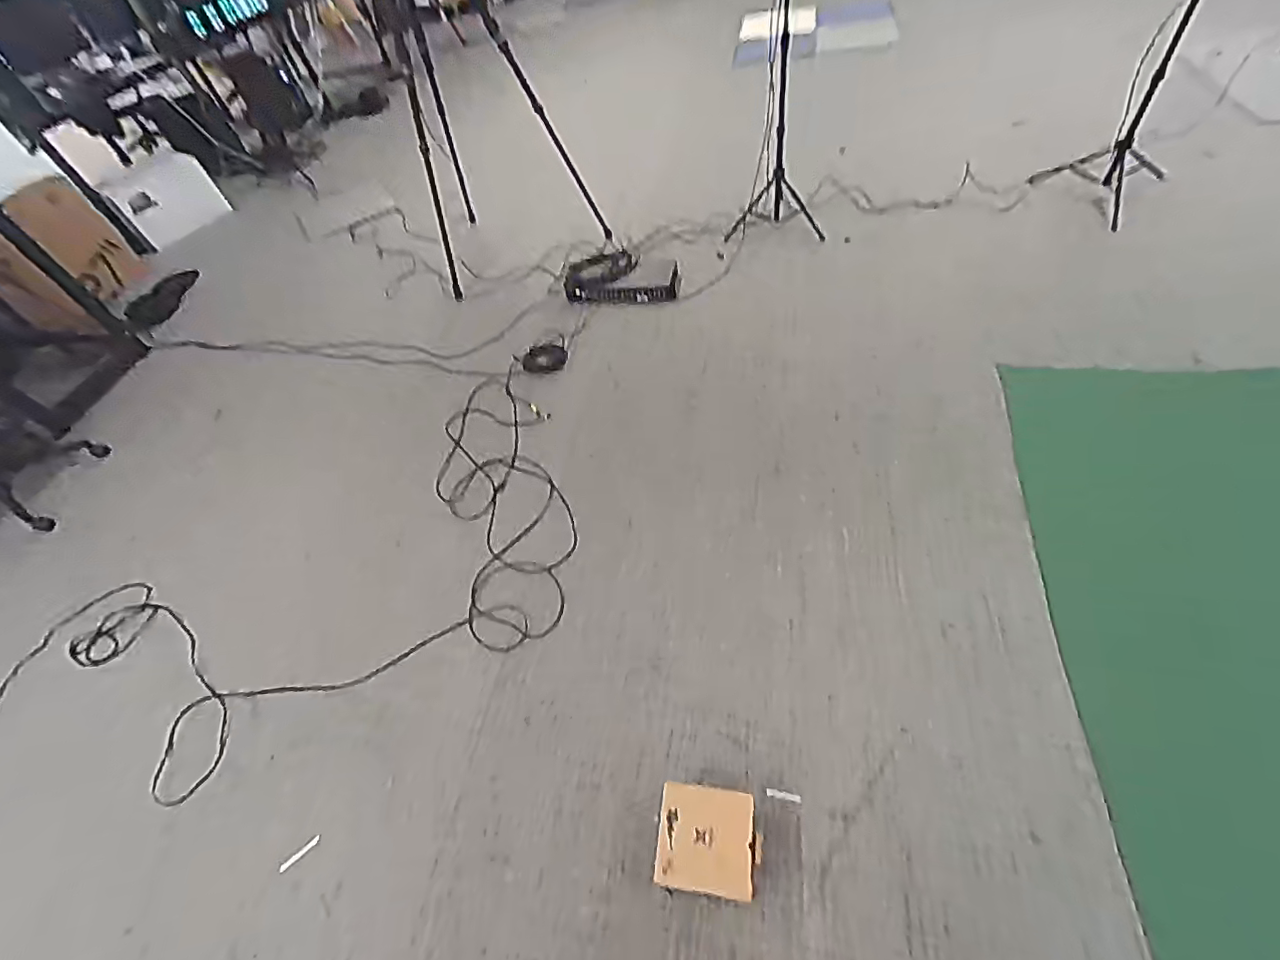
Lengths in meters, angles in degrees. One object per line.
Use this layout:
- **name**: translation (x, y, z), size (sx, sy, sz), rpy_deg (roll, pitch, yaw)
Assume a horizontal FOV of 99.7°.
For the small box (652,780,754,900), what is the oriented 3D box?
- **small box**: translation (0.129, 0.703, 1.059), size (0.179, 0.176, 0.168), rpy_deg (2, 54, 12)
